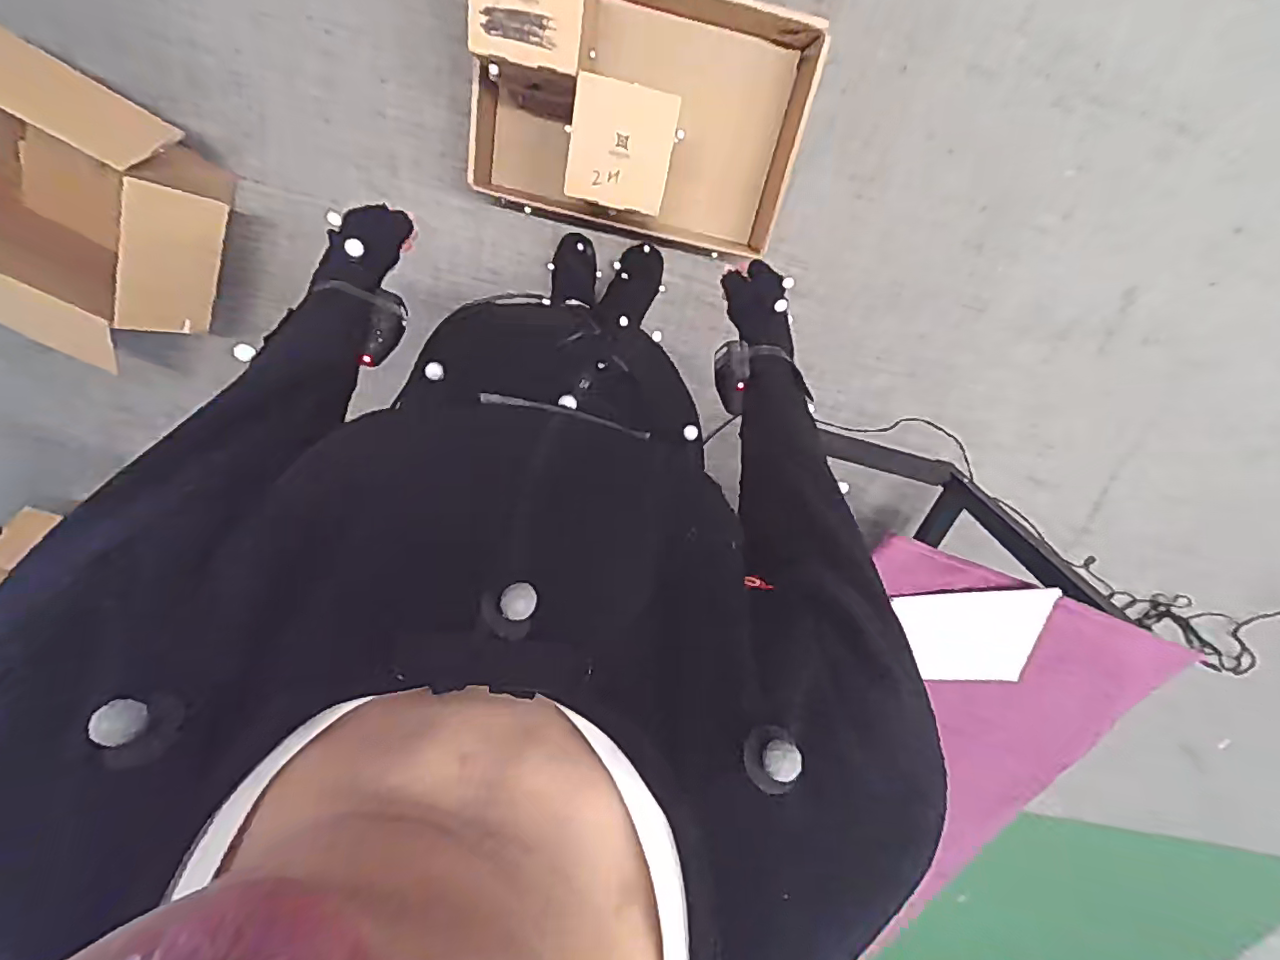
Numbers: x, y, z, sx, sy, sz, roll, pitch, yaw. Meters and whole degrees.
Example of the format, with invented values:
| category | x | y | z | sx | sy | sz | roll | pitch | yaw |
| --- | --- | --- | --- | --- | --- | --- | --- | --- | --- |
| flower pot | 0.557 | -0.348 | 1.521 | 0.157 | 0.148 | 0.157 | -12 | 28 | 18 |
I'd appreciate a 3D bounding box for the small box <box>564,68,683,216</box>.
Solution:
| category | x | y | z | sx | sy | sz | roll | pitch | yaw |
| --- | --- | --- | --- | --- | --- | --- | --- | --- | --- |
| small box | -0.033 | -0.571 | 0.934 | 0.168 | 0.176 | 0.179 | 10 | 118 | -7 |
